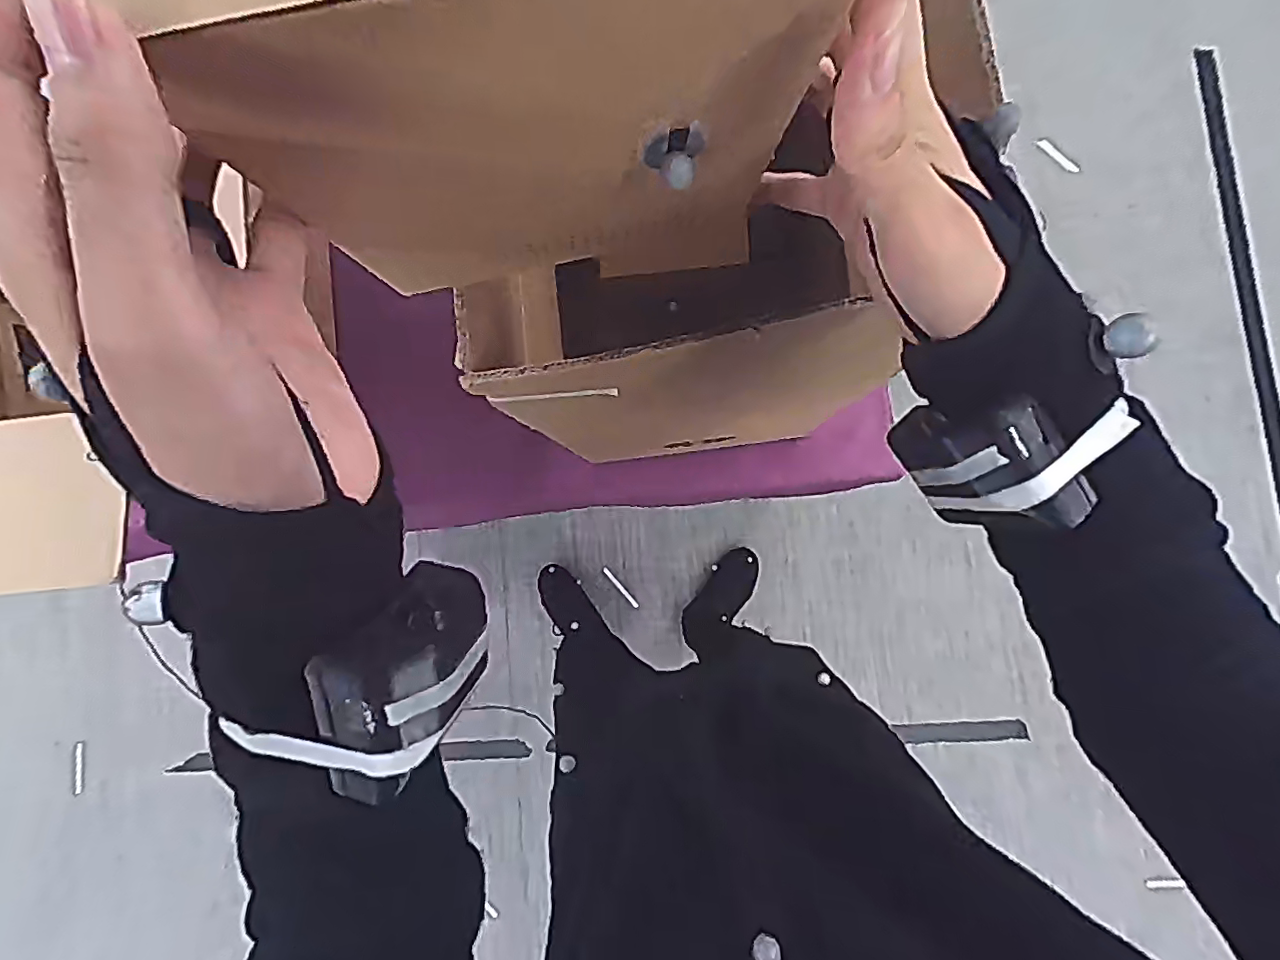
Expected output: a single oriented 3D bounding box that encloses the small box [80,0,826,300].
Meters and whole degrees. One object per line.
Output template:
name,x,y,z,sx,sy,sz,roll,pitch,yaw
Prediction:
small box,-0.055,-0.184,0.200,0.179,0.176,0.168,-13,92,-1
